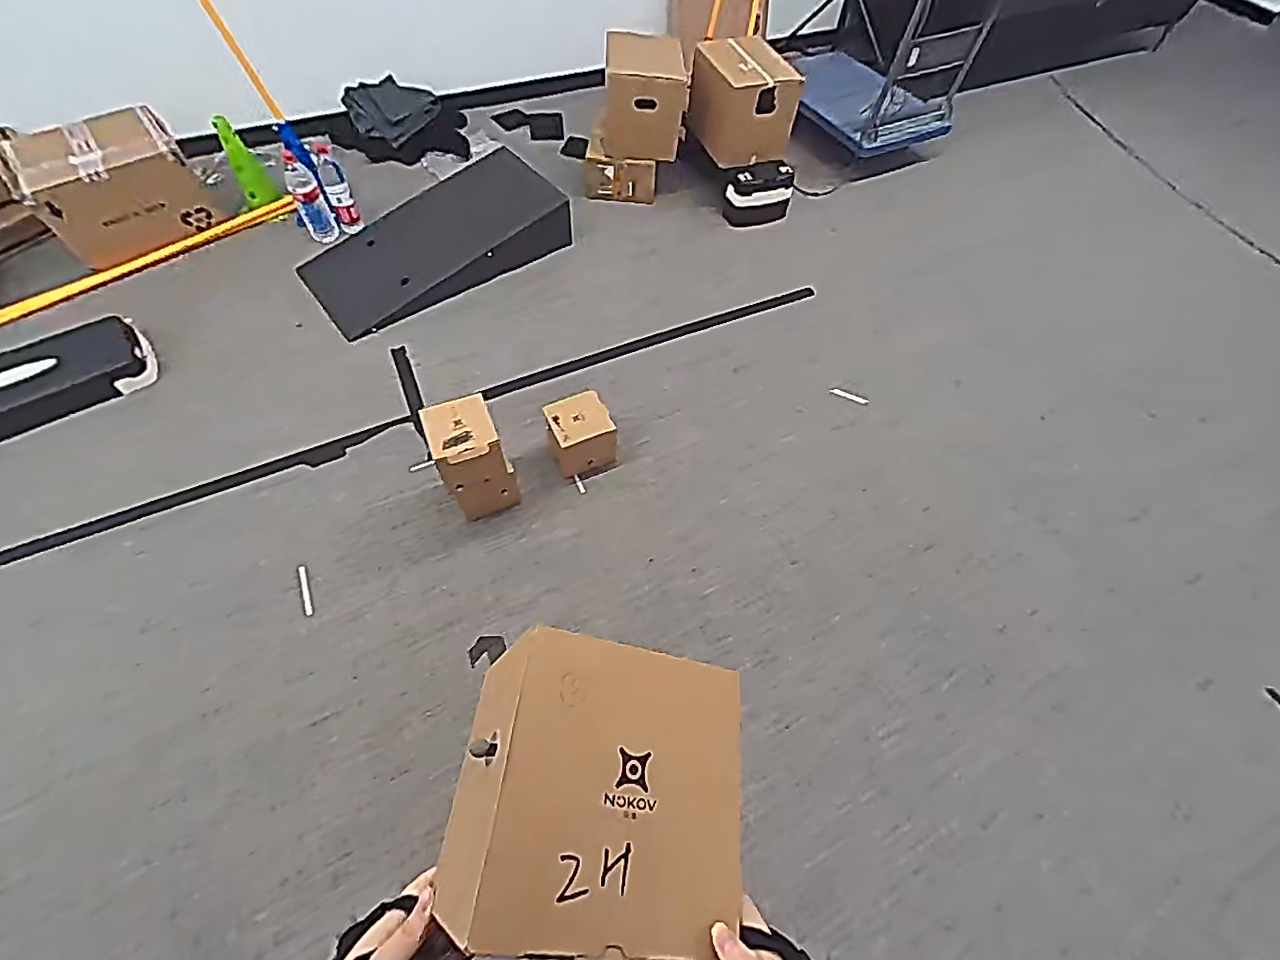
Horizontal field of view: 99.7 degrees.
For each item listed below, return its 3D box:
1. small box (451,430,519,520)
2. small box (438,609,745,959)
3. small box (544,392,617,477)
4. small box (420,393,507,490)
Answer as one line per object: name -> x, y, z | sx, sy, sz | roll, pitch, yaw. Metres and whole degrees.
small box -> -0.462, -0.013, 1.570 | 0.179, 0.176, 0.168 | -22, 62, -16
small box -> -0.038, 0.221, 0.404 | 0.168, 0.176, 0.179 | 20, 55, -17
small box -> -0.183, -0.138, 1.665 | 0.179, 0.176, 0.168 | -20, 61, -16
small box -> -0.460, -0.094, 1.427 | 0.168, 0.176, 0.179 | -19, 60, -15
